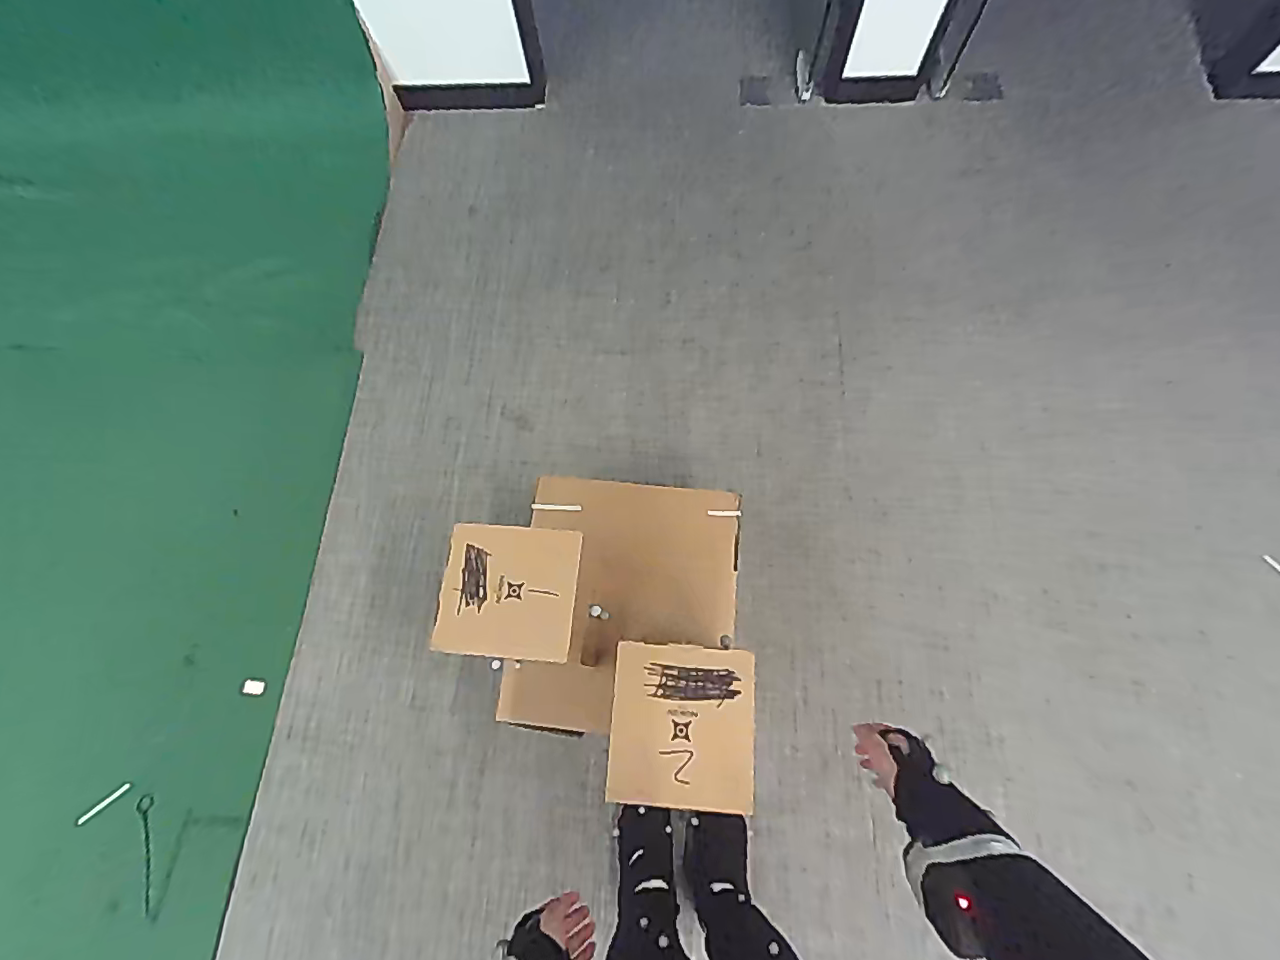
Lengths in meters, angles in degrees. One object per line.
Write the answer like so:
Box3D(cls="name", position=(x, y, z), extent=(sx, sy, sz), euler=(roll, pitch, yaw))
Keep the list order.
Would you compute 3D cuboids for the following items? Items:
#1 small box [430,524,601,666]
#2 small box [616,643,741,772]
Box3D(cls="small box", position=(-0.158, 0.165, 0.751), extent=(0.179, 0.176, 0.168), euler=(3, 71, 5))
Box3D(cls="small box", position=(0.060, 0.350, 0.853), extent=(0.179, 0.176, 0.168), euler=(2, 70, 3))
